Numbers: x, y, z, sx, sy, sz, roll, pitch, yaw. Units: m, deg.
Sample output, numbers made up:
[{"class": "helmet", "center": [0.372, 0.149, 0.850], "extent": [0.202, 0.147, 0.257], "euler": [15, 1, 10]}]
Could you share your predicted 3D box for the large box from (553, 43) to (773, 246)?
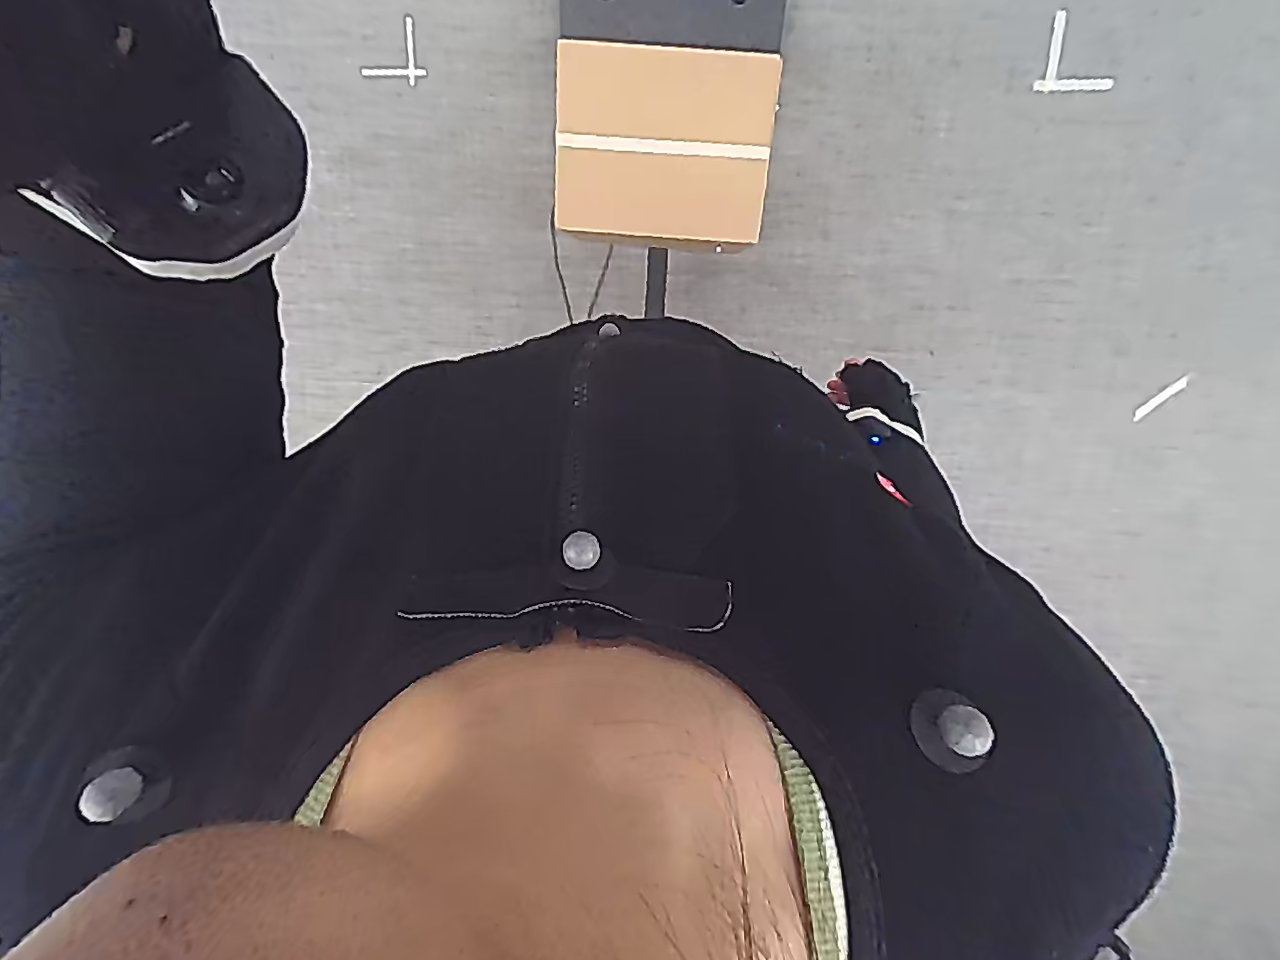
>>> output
[{"class": "large box", "center": [0.040, -0.682, 1.159], "extent": [0.408, 0.320, 0.320], "euler": [4, 109, 0]}]

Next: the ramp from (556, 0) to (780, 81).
[{"class": "ramp", "center": [0.071, -1.249, 1.073], "extent": [0.509, 0.206, 0.991], "euler": [1, 106, 0]}]
